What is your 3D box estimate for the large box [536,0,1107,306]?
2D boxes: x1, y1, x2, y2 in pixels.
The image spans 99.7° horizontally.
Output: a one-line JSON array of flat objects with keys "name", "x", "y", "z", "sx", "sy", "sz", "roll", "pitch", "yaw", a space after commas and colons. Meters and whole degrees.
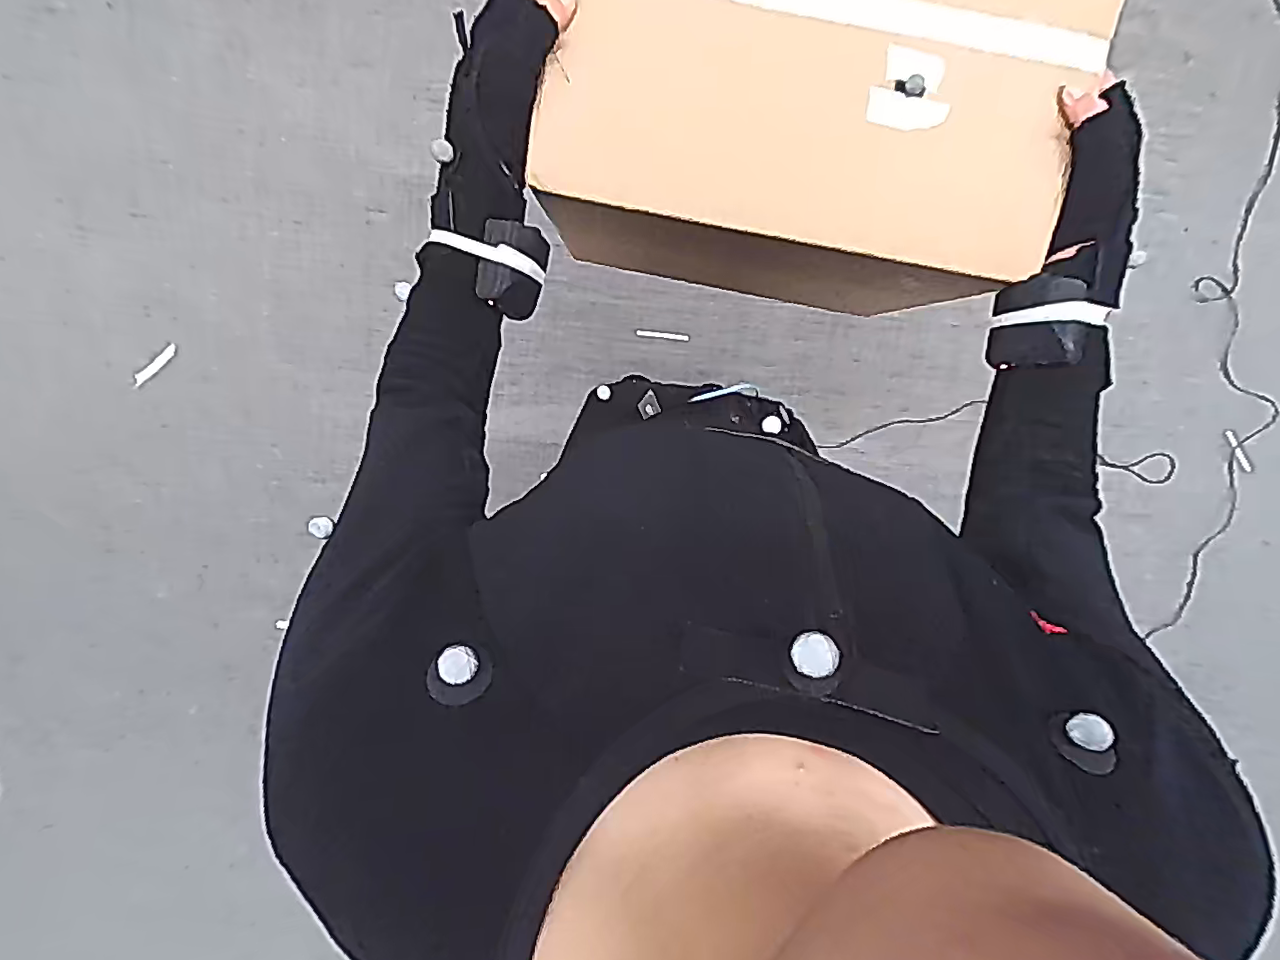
[{"name": "large box", "x": 0.134, "y": -0.377, "z": 0.540, "sx": 0.408, "sy": 0.320, "sz": 0.320, "roll": 10, "pitch": 103, "yaw": -3}]
